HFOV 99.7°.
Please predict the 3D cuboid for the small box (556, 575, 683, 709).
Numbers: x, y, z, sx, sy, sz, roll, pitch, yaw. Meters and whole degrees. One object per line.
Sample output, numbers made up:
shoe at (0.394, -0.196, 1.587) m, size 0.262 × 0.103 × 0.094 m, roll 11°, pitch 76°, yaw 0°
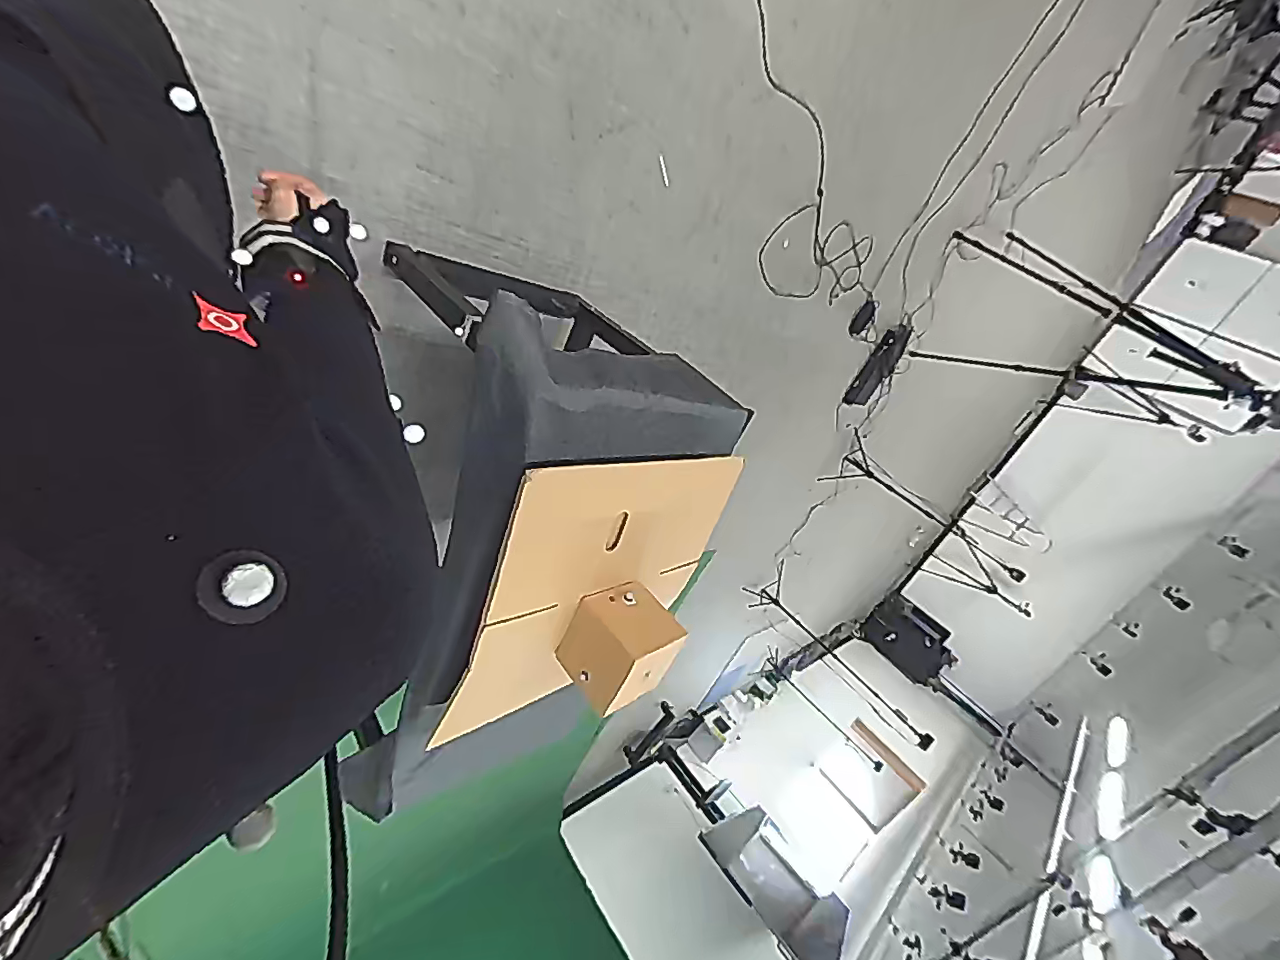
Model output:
small box at (-0.049, 0.325, 1.115) m, size 0.168 × 0.176 × 0.179 m, roll -9°, pitch 133°, yaw -48°
